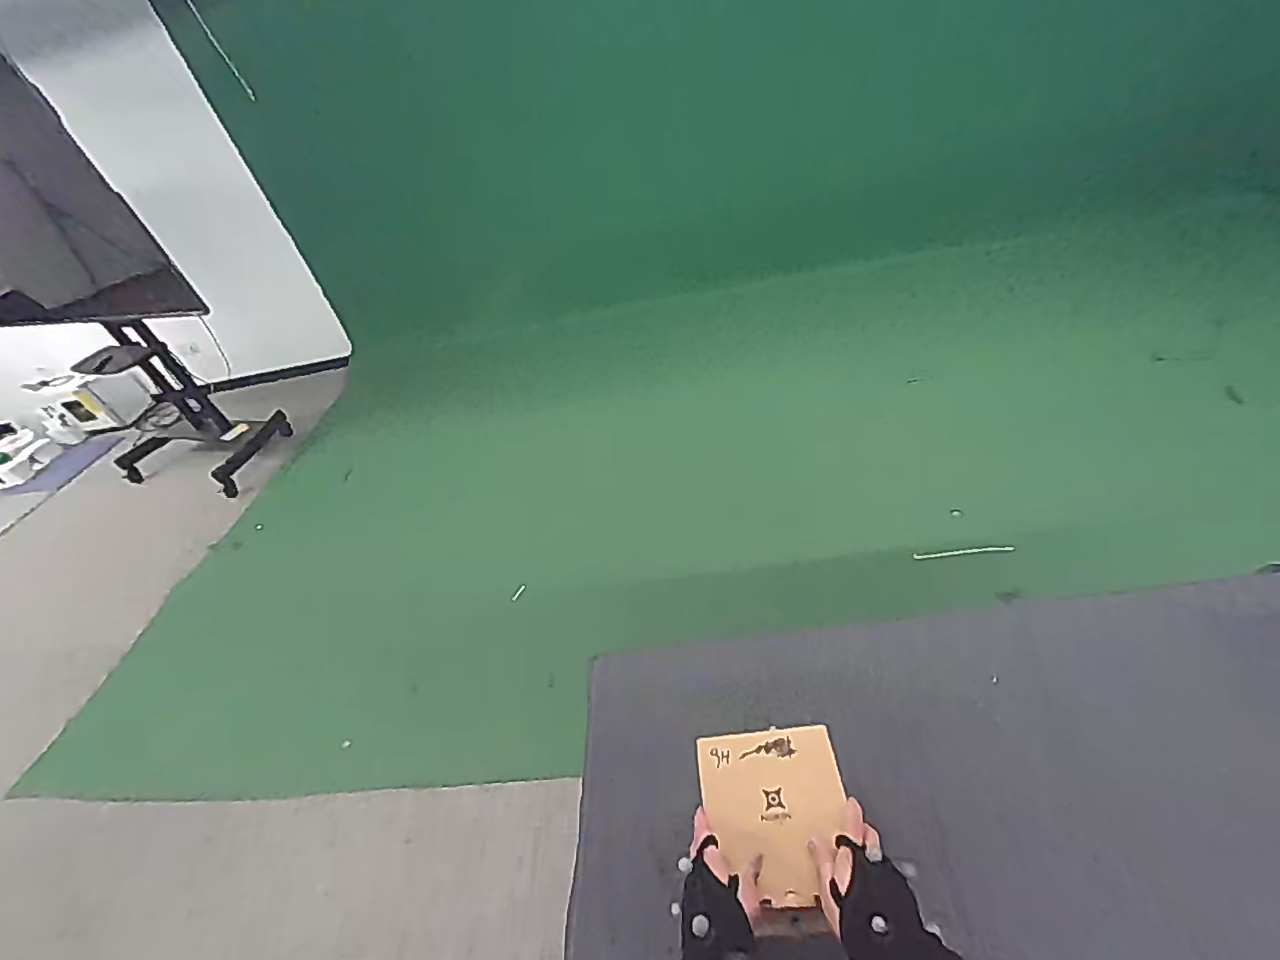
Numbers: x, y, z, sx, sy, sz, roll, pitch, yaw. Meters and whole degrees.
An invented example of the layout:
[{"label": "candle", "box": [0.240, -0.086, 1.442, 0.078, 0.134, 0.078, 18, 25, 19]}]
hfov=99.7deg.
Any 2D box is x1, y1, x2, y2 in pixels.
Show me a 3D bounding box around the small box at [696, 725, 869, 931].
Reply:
[{"label": "small box", "box": [0.168, 0.432, 0.668, 0.168, 0.176, 0.179, -9, 40, 6]}]
